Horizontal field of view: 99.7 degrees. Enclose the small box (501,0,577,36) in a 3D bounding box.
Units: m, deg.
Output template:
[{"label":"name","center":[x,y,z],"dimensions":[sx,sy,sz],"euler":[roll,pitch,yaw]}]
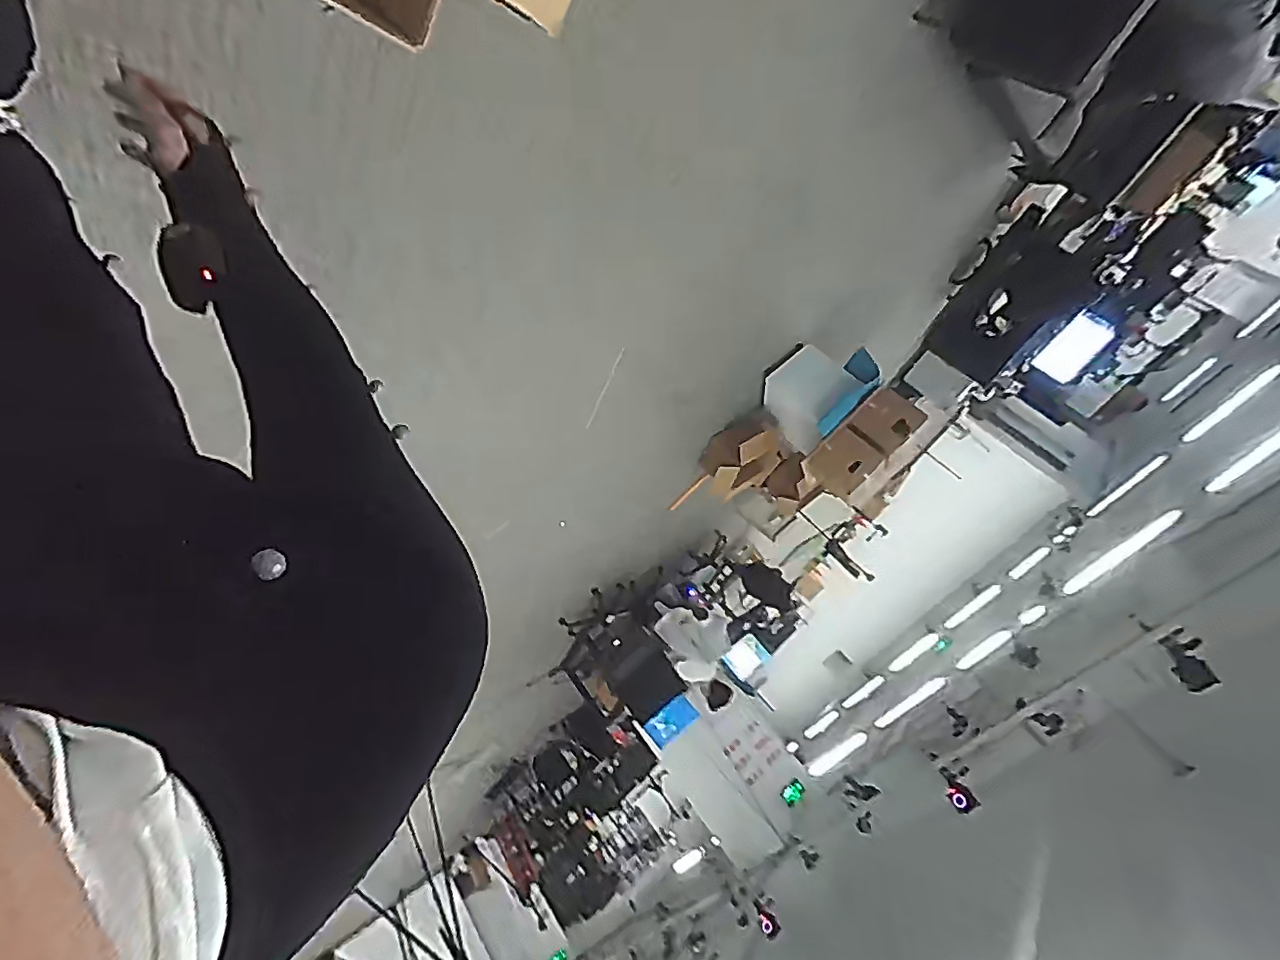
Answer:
[{"label":"small box","center":[-0.128,-0.505,0.413],"dimensions":[0.168,0.176,0.179],"euler":[-9,139,-50]}]
